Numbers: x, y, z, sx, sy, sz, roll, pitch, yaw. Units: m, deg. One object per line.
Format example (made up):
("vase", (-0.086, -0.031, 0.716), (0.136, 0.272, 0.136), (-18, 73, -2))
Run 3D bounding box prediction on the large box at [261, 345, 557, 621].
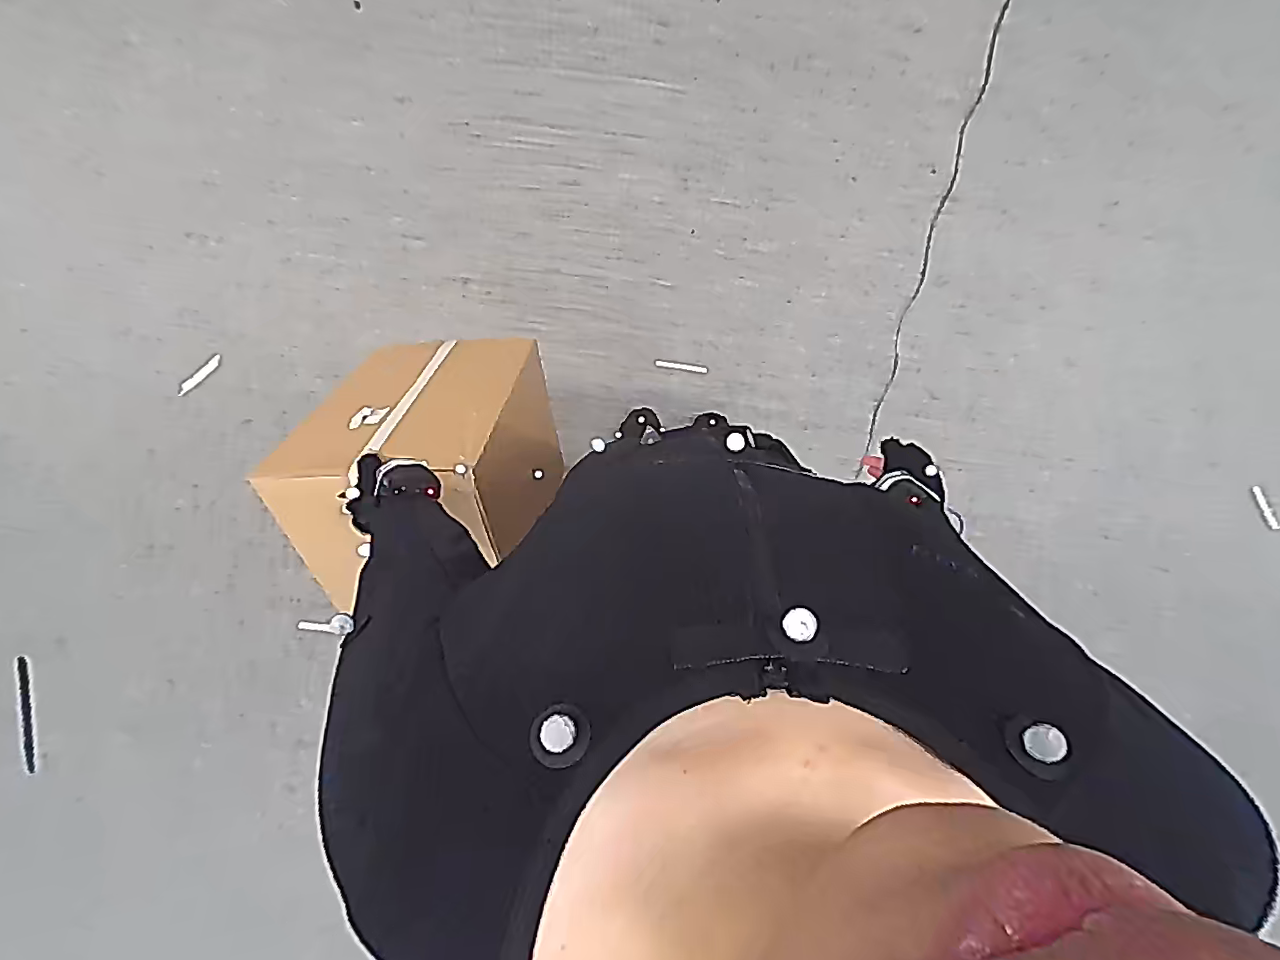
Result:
("large box", (-0.349, -0.006, 0.967), (0.320, 0.408, 0.320), (-3, 130, 6))
